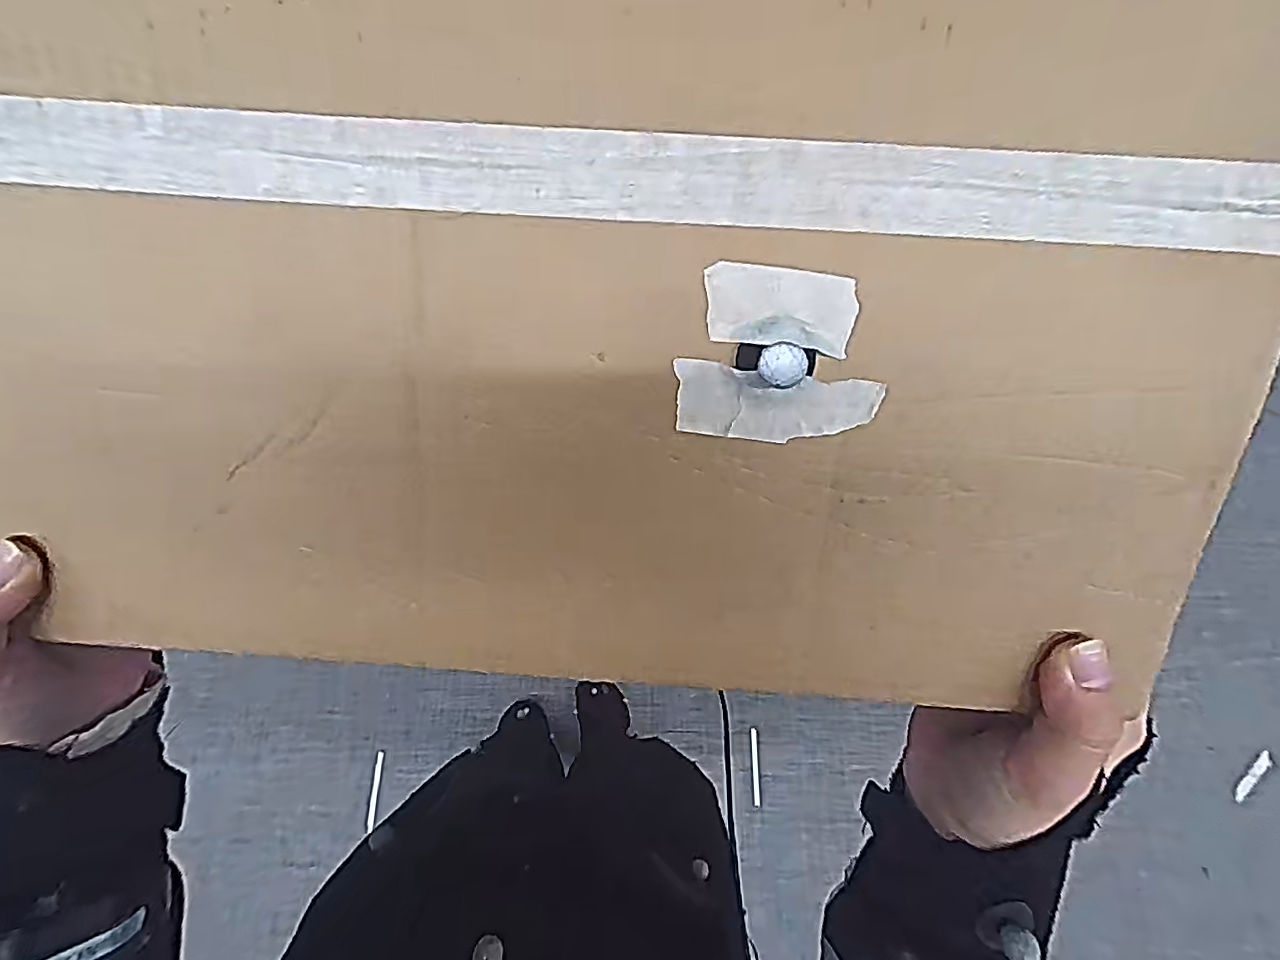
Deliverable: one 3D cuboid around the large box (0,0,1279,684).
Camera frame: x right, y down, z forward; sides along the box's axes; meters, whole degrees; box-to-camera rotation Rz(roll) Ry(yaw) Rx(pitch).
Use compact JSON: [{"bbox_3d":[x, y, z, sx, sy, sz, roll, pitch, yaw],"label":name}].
[{"bbox_3d":[-0.018,-0.119,0.303,0.408,0.320,0.320,4,105,0],"label":"large box"}]
